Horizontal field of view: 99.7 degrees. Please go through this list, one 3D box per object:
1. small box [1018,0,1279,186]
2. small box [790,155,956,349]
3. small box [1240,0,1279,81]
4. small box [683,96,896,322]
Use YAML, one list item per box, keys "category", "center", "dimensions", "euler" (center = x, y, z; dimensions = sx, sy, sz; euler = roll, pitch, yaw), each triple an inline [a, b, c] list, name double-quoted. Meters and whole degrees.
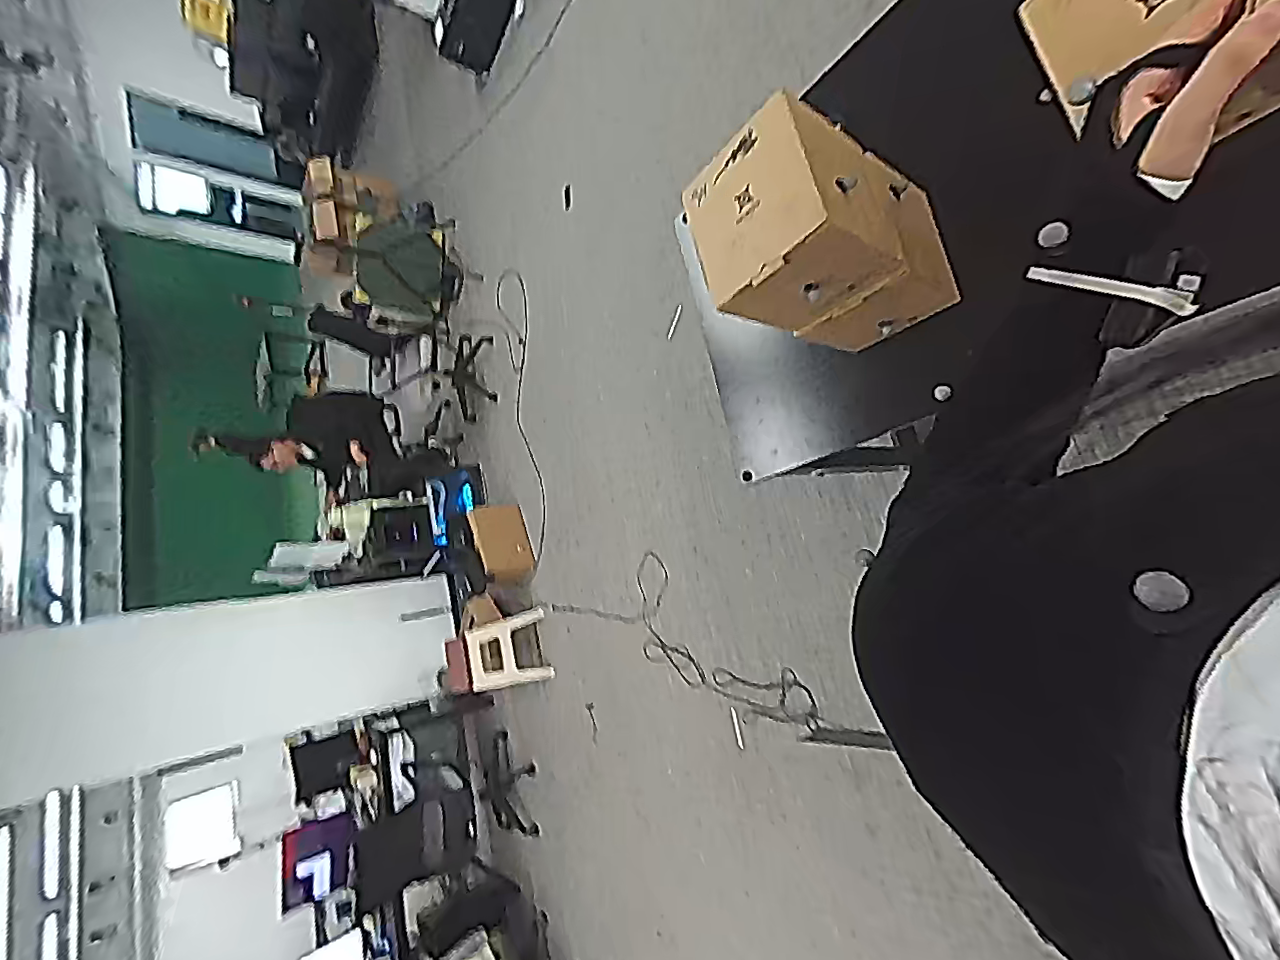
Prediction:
- category: "small box"
  center: [0.514, -0.430, 0.527]
  dimensions: [0.168, 0.176, 0.179]
  euler: [-29, 70, 49]
- category: "small box"
  center: [0.315, -0.308, 0.771]
  dimensions: [0.168, 0.176, 0.179]
  euler: [-24, 73, 49]
- category: "small box"
  center: [0.420, -0.319, 0.246]
  dimensions: [0.179, 0.176, 0.168]
  euler: [8, 112, 49]
- category: "small box"
  center: [0.184, -0.313, 0.672]
  dimensions: [0.168, 0.176, 0.179]
  euler: [-28, 70, 47]
